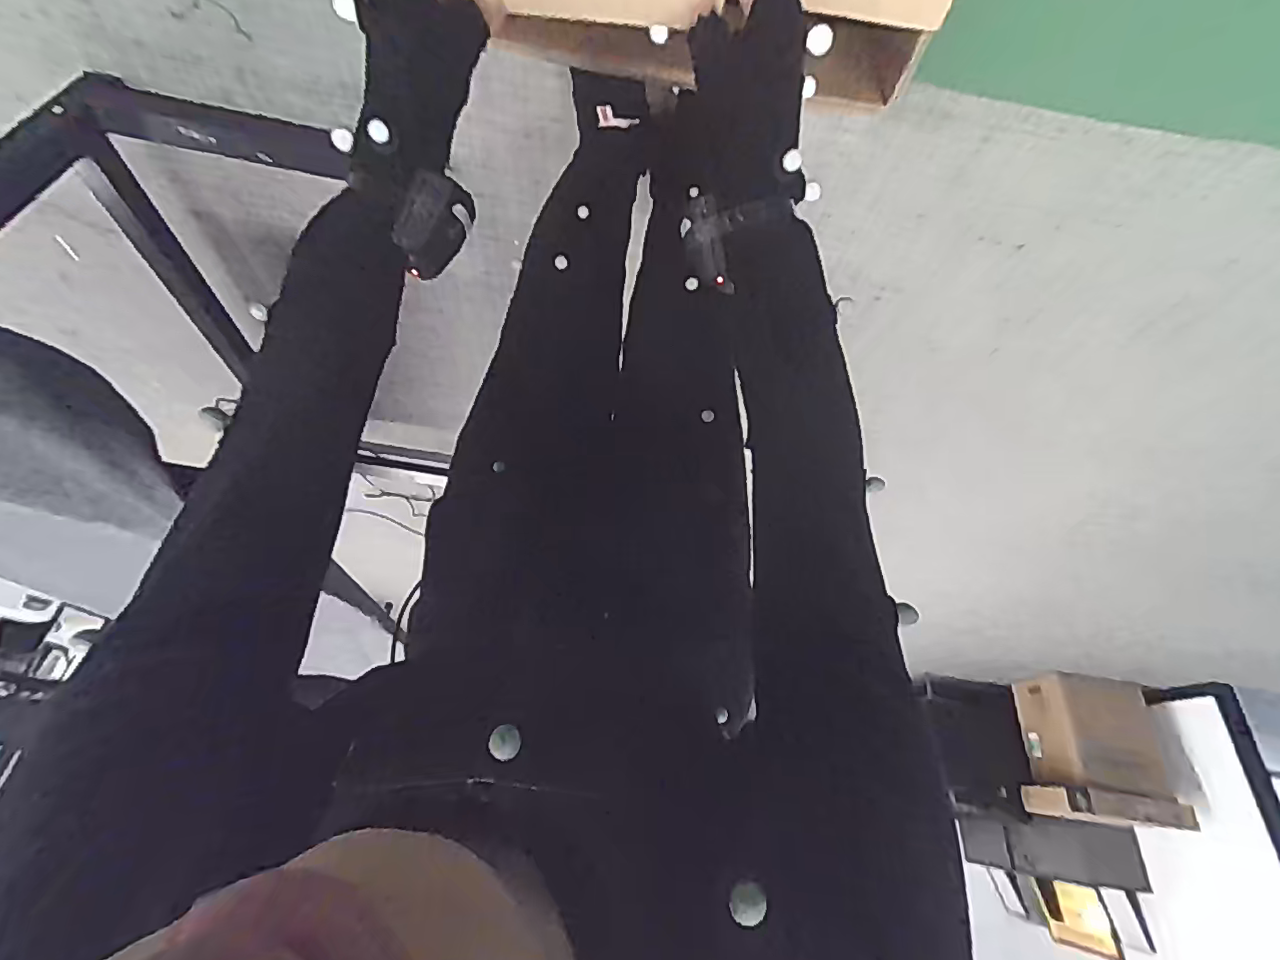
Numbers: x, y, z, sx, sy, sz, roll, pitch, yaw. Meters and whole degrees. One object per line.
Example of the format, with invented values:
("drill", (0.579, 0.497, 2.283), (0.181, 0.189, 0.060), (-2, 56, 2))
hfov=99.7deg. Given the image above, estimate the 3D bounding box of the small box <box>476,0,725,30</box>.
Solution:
("small box", (-0.018, -0.436, 0.362), (0.179, 0.176, 0.168), (7, 142, 0))
